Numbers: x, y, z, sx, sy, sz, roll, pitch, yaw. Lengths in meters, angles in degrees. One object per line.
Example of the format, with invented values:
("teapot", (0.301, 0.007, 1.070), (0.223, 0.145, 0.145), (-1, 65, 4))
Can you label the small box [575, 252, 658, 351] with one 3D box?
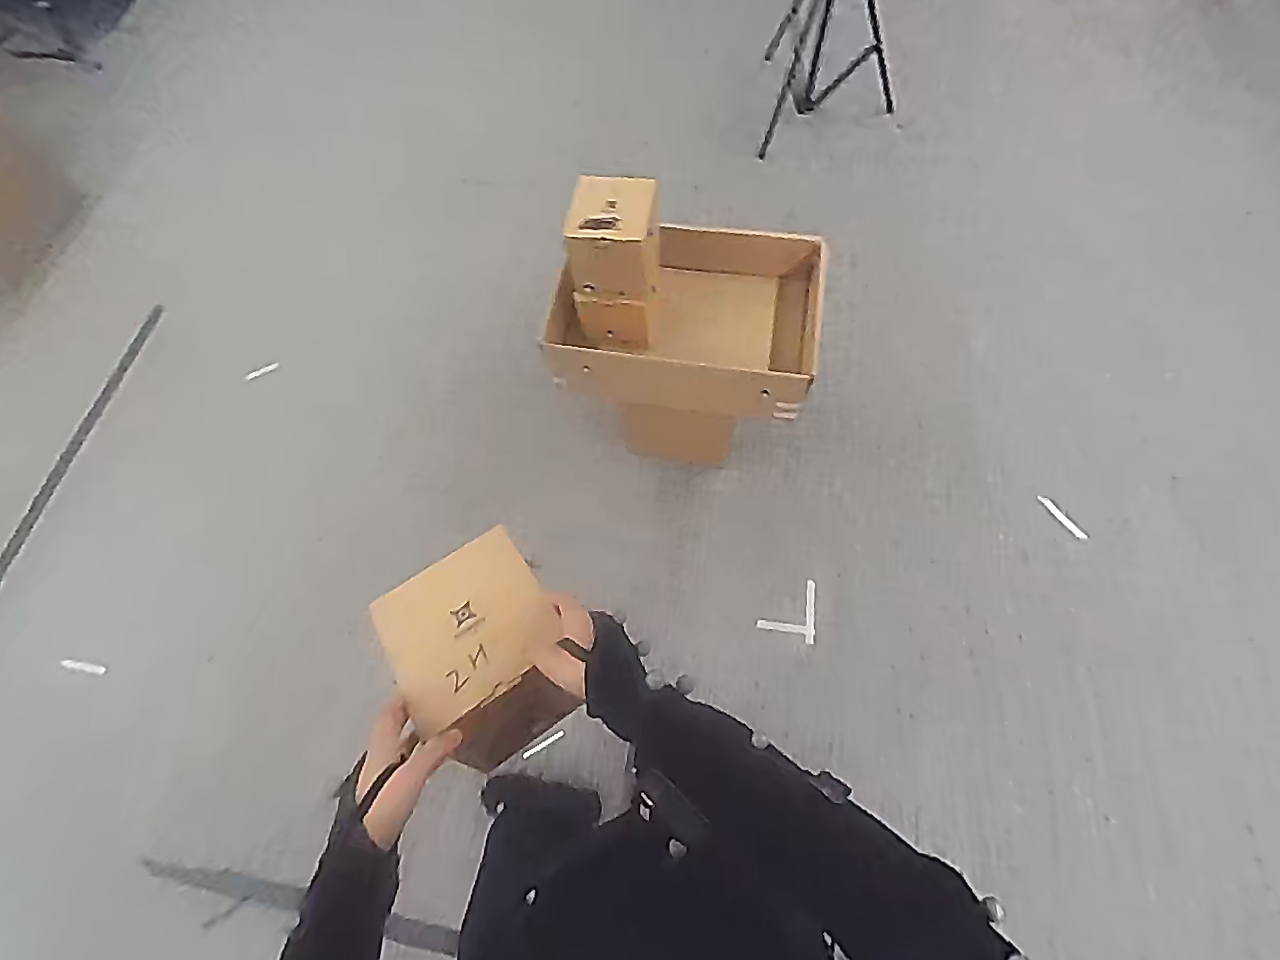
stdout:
("small box", (-0.048, -0.439, 1.309), (0.168, 0.176, 0.179), (7, 69, 7))

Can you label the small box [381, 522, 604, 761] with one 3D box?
("small box", (-0.160, 0.188, 0.620), (0.168, 0.176, 0.179), (-31, 56, -14))

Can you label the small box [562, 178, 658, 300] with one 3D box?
("small box", (-0.055, -0.511, 1.161), (0.168, 0.176, 0.179), (7, 68, 7))
